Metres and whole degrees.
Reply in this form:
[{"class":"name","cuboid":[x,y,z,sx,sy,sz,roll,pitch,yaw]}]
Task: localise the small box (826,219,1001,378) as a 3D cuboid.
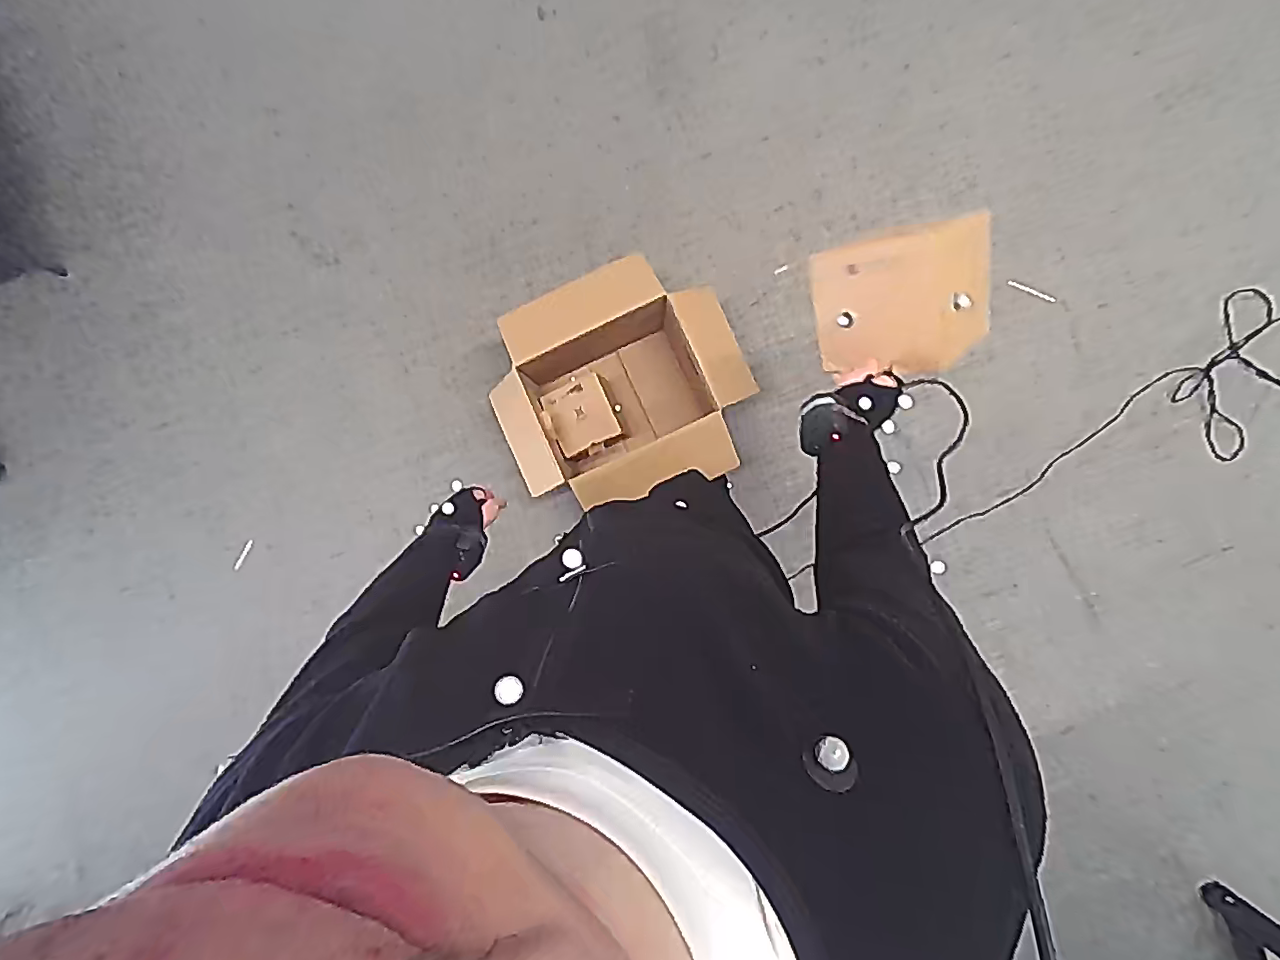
[{"class":"small box","cuboid":[0.374,-0.248,0.745,0.179,0.168,0.176,-29,119,-34]}]
